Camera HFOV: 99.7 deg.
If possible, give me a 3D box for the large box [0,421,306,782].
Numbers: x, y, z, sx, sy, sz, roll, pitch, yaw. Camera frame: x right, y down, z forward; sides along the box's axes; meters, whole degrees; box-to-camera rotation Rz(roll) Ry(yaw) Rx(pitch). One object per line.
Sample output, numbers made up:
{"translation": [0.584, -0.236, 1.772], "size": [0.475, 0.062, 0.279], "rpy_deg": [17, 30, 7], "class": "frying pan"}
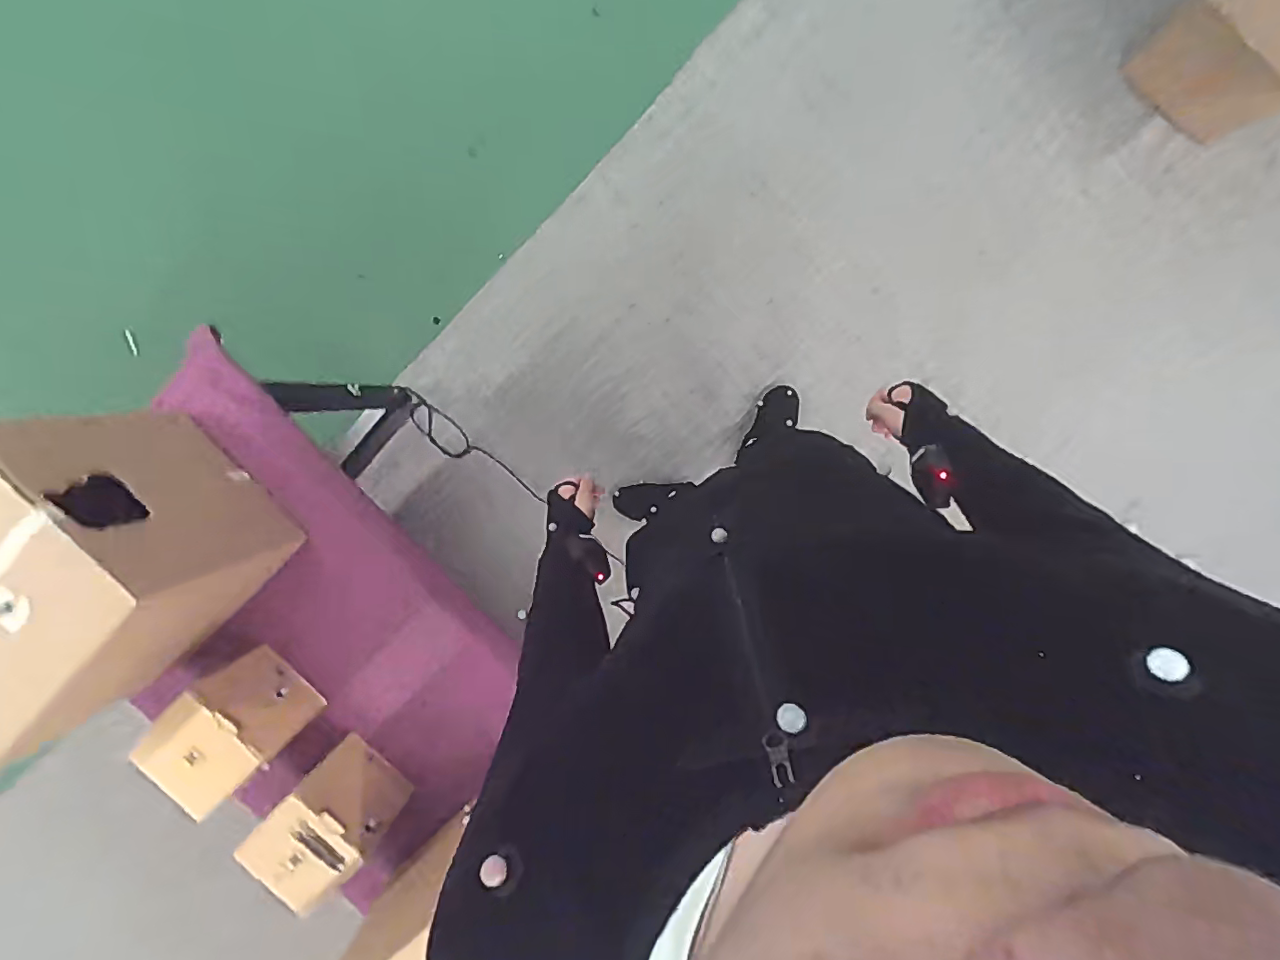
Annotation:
{"translation": [-0.844, 0.157, 0.840], "size": [0.408, 0.320, 0.320], "rpy_deg": [-44, 94, 9], "class": "large box"}
